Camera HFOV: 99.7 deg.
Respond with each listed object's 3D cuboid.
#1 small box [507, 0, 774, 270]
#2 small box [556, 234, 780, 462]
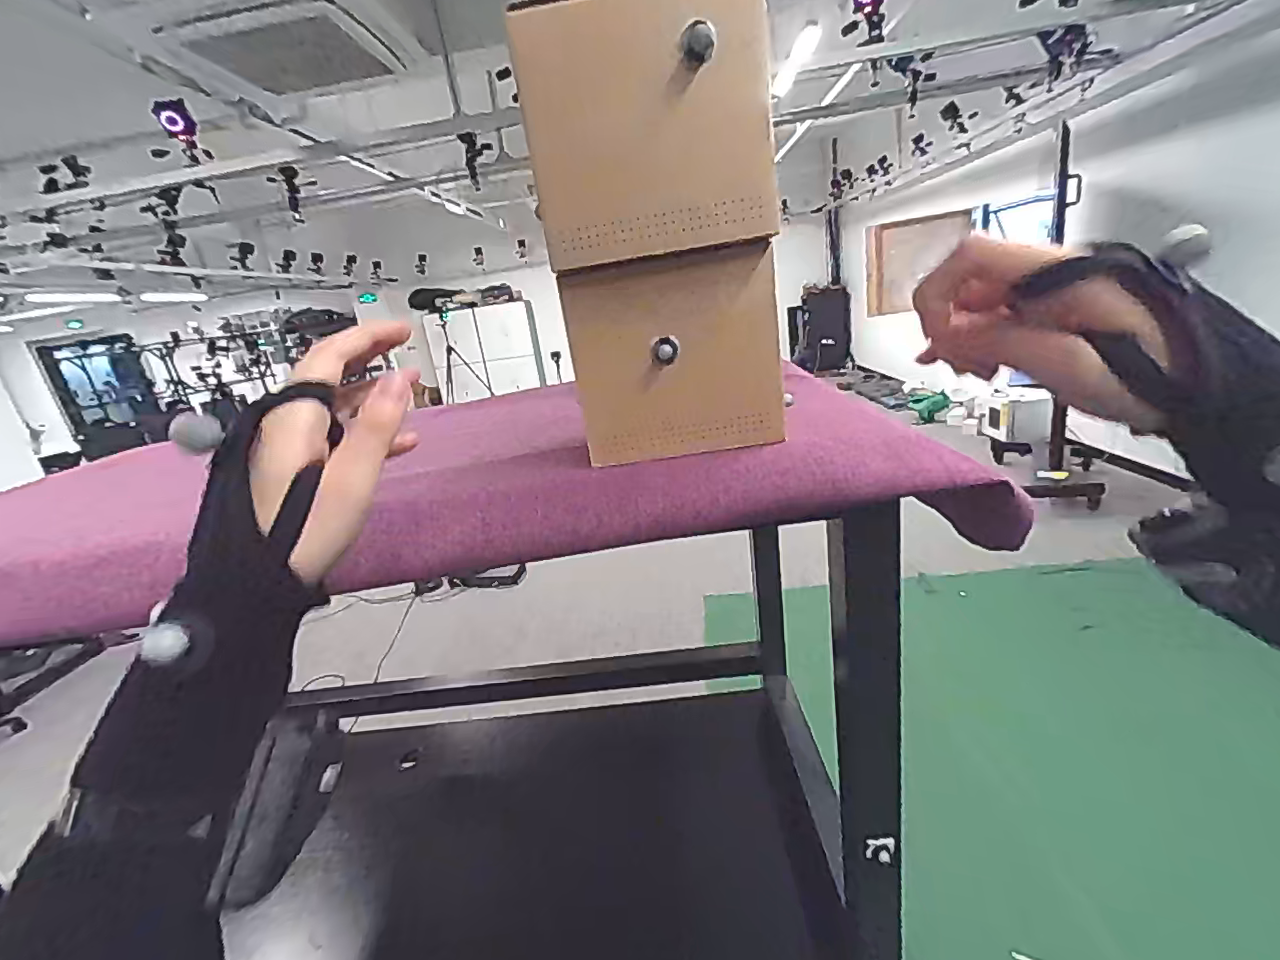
[{"bbox_3d":[0.011,-0.275,0.453,0.179,0.176,0.168,-8,18,4],"label":"small box"},{"bbox_3d":[0.034,-0.127,0.524,0.179,0.176,0.168,-8,18,5],"label":"small box"}]
